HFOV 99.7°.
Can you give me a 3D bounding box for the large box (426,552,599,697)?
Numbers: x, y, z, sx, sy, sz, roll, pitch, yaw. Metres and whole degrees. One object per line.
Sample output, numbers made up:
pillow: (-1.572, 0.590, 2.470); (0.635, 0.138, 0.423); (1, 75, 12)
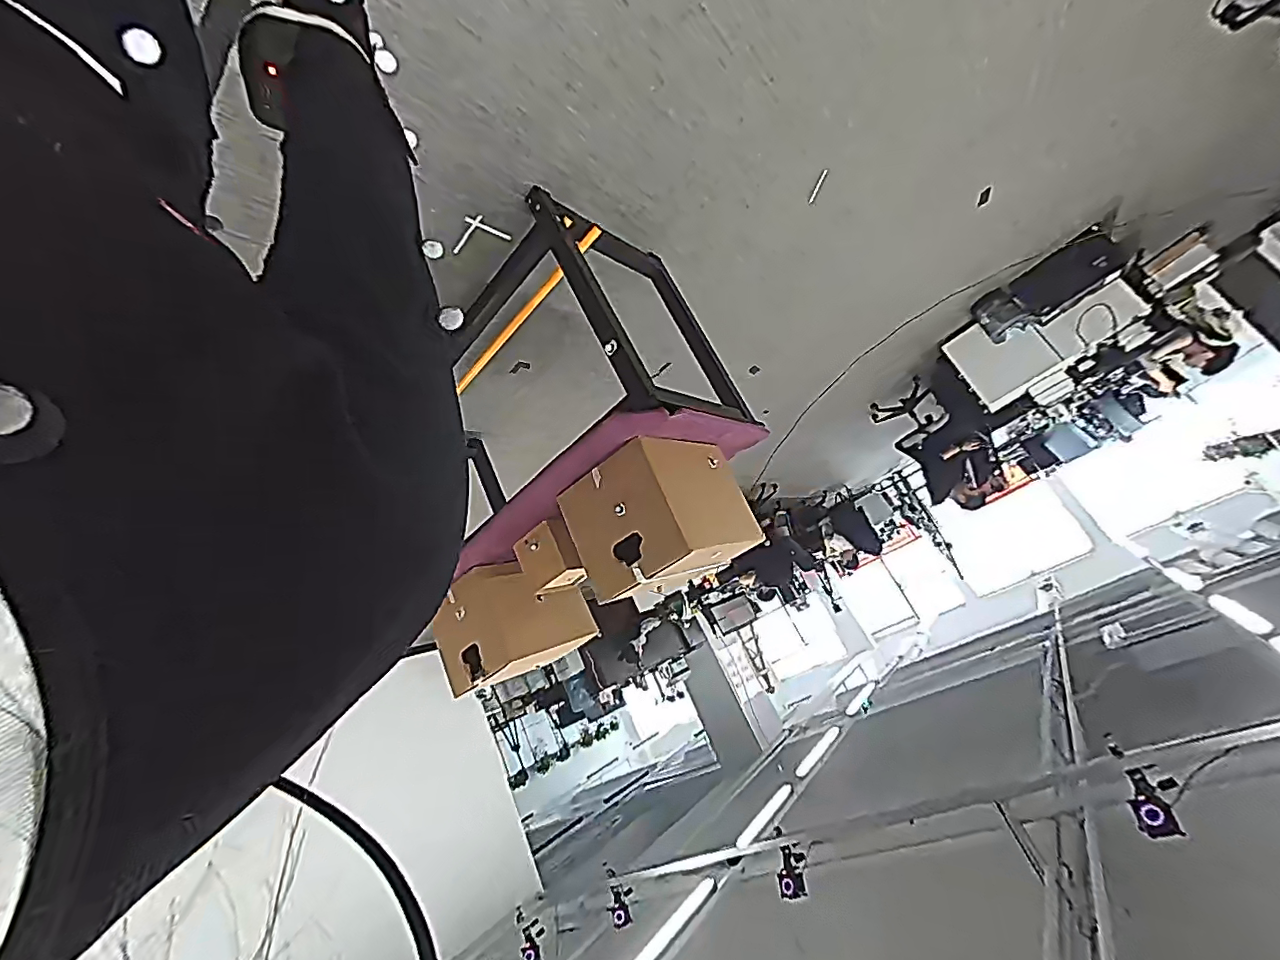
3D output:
large box: (-0.424, 0.466, 1.806); (0.320, 0.320, 0.408); (-37, 160, 30)
